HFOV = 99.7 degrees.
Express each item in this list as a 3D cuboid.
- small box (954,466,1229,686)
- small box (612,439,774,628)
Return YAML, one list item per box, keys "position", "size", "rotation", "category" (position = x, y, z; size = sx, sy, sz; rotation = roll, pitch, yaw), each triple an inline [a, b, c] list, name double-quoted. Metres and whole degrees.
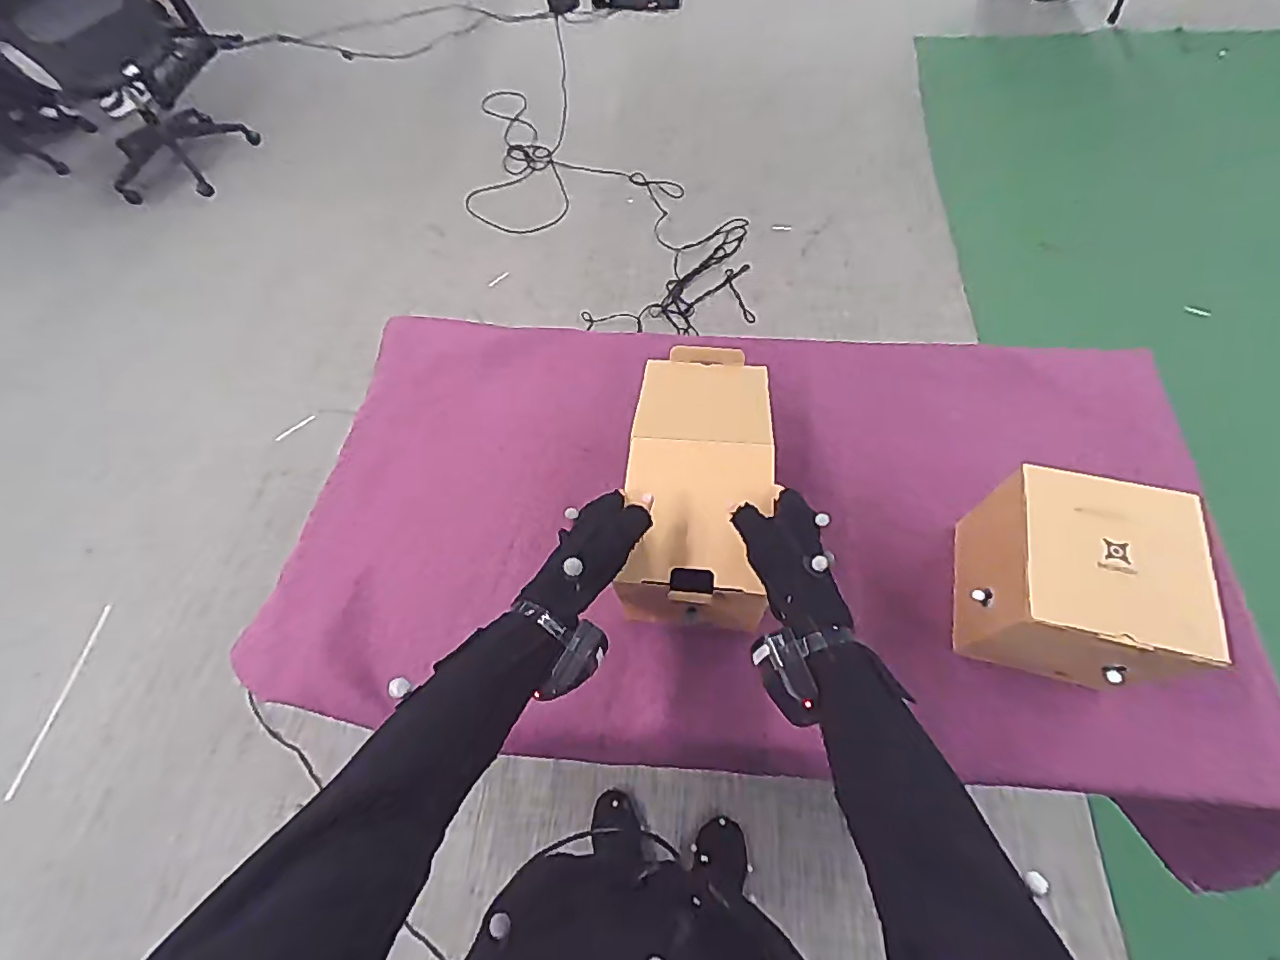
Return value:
- position: [0.468, 0.112, 0.595]
  size: [0.168, 0.176, 0.179]
  rotation: [12, 63, 11]
  category: "small box"
- position: [0.067, 0.071, 0.651]
  size: [0.168, 0.176, 0.179]
  rotation: [4, 63, 7]
  category: "small box"
